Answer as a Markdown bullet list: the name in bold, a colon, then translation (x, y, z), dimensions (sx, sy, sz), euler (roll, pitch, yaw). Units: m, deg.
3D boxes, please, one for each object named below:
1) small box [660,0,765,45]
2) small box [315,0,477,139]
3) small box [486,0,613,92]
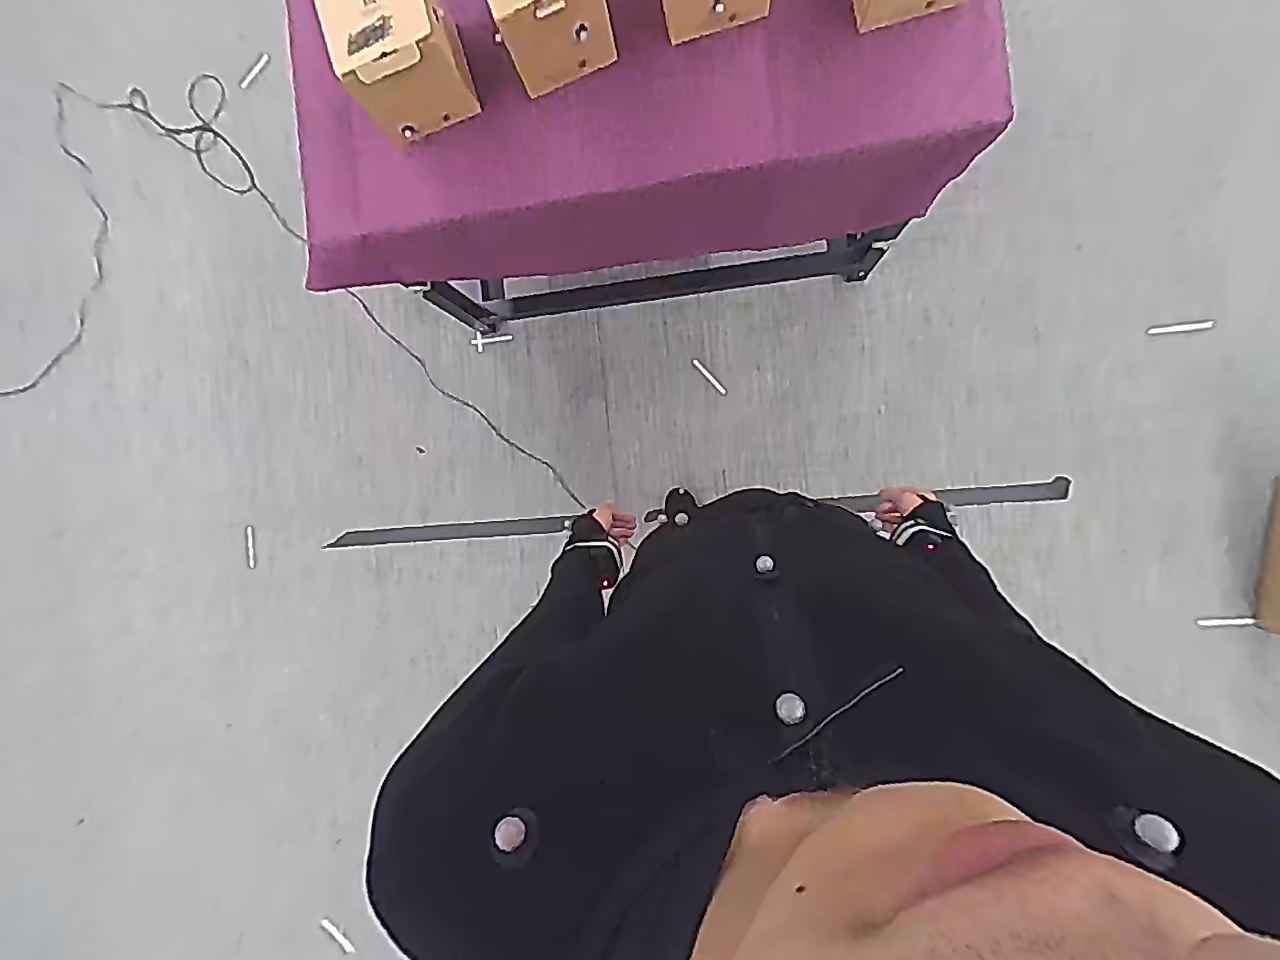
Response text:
- **small box**: translation (0.102, -0.835, 0.832), dimensions (0.168, 0.176, 0.179), euler (-11, 88, 8)
- **small box**: translation (-0.394, -0.708, 0.897), dimensions (0.168, 0.176, 0.179), euler (-18, 87, 7)
- **small box**: translation (-0.153, -0.772, 0.867), dimensions (0.168, 0.176, 0.179), euler (-19, 87, 6)
